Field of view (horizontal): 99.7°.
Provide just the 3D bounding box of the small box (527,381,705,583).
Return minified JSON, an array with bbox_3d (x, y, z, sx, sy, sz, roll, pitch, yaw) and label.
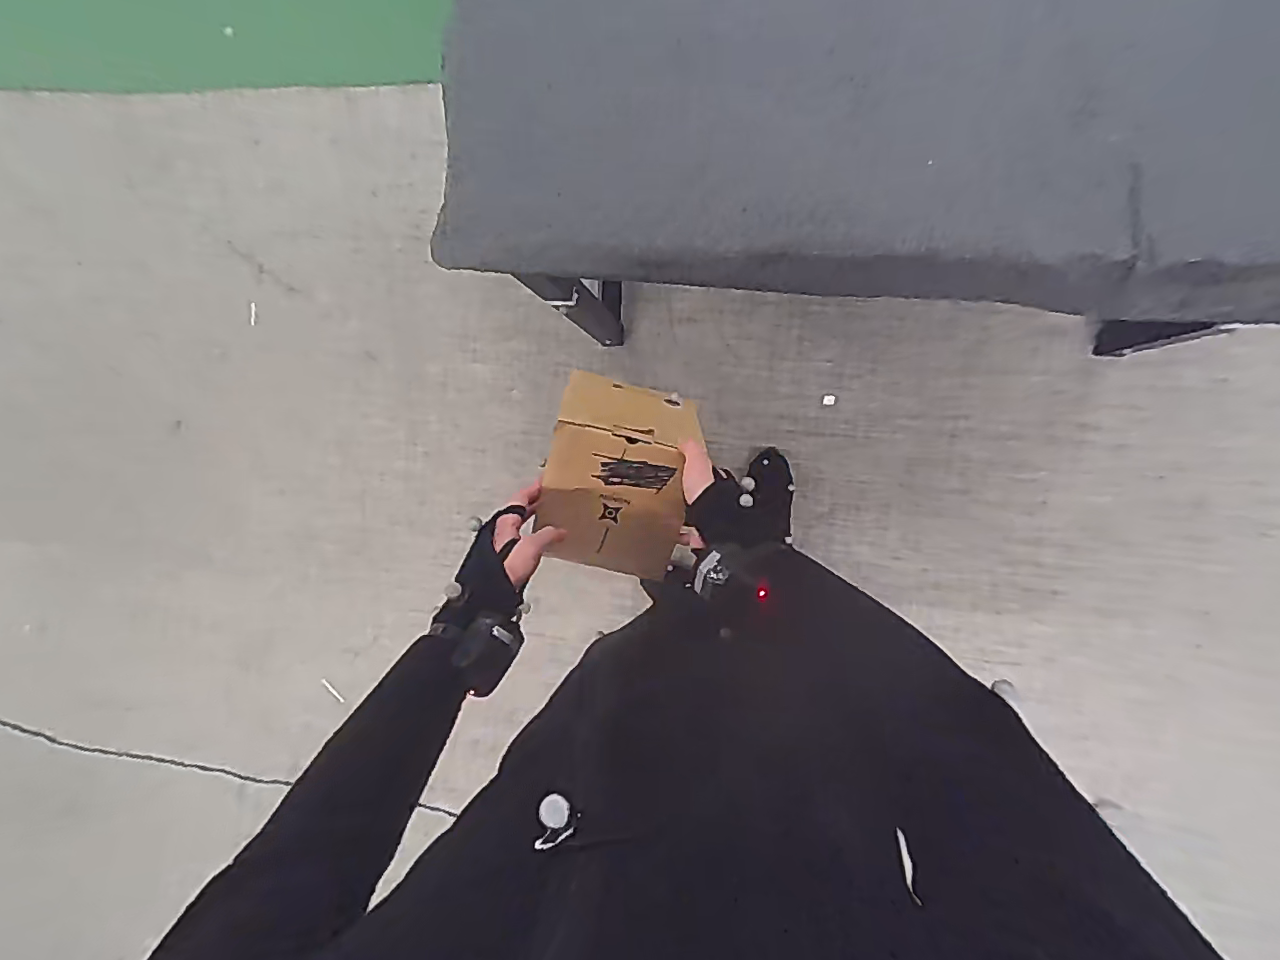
[{"bbox_3d":[-0.031,-0.006,0.667,0.168,0.176,0.179,13,117,-6],"label":"small box"}]
